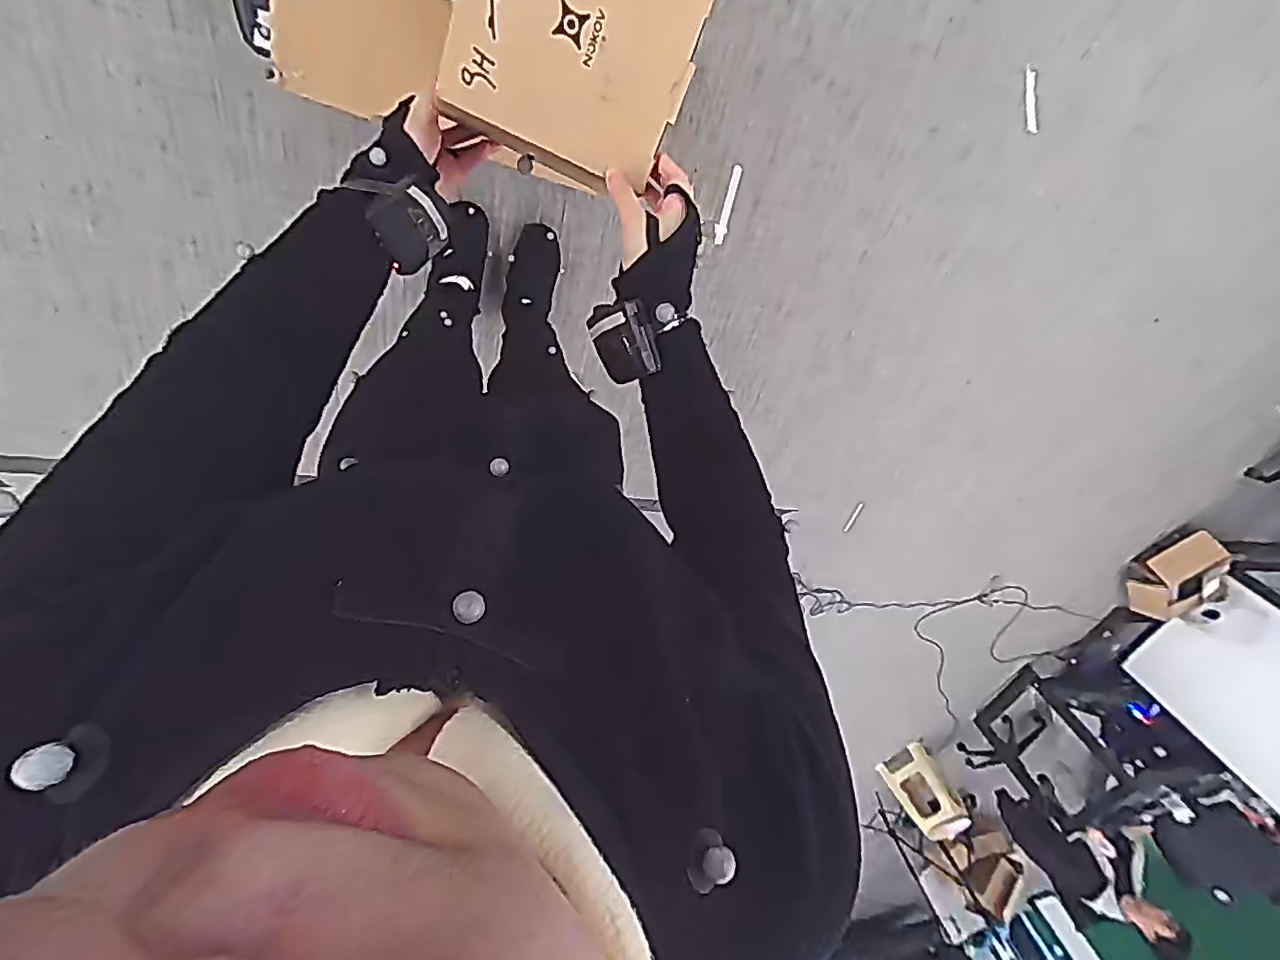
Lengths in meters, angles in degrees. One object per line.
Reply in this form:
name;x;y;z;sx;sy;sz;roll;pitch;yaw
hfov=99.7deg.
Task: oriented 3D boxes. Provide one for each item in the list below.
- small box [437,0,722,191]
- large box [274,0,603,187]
small box;-0.061;-0.370;0.456;0.179;0.176;0.168;14;113;-26
large box;-0.223;-0.646;0.737;0.408;0.320;0.320;8;122;-20
